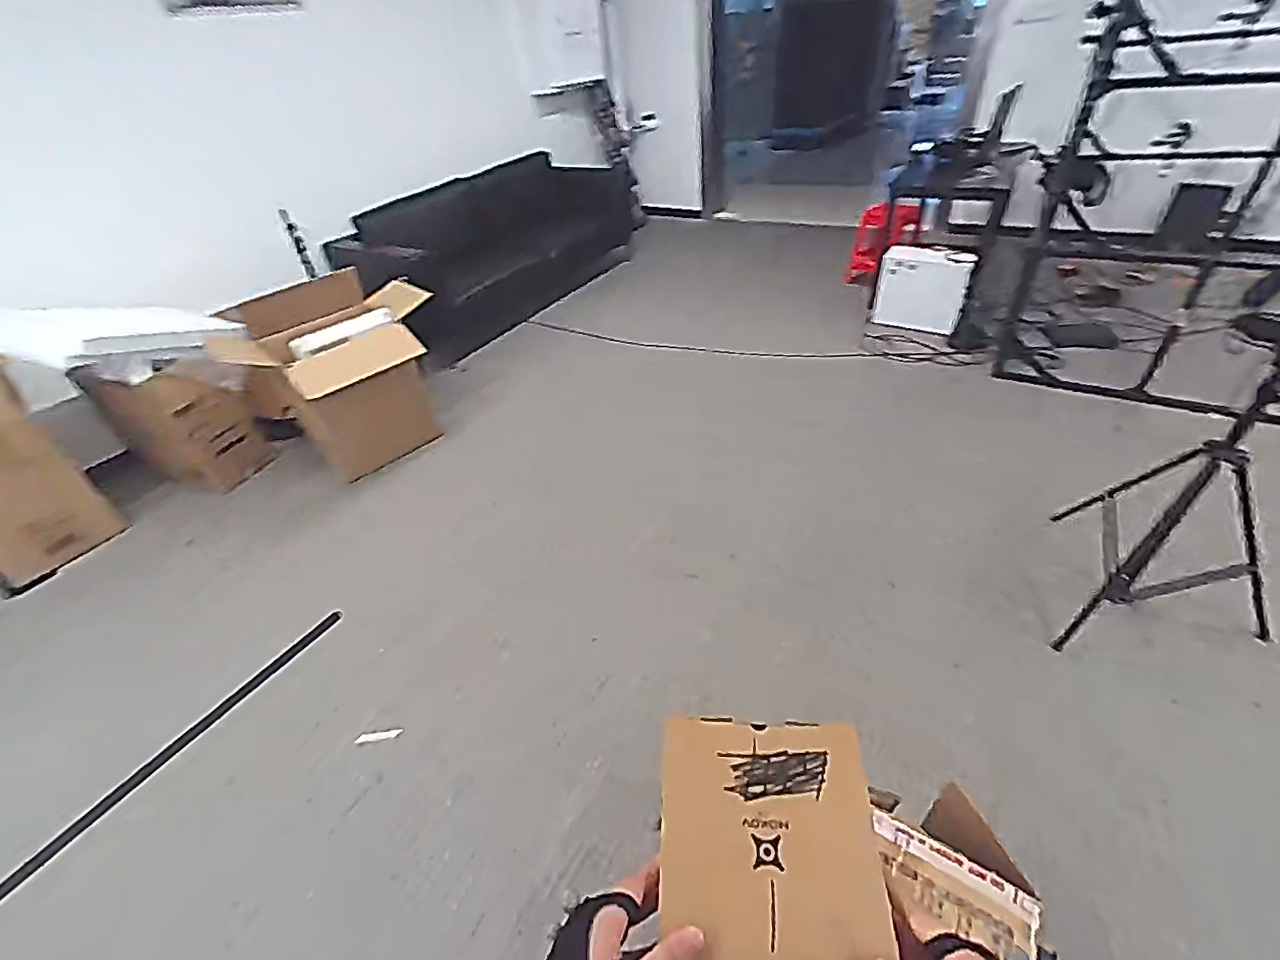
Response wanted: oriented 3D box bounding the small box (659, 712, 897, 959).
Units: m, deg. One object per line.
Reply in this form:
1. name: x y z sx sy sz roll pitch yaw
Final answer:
1. small box: 0.103 0.327 0.480 0.168 0.176 0.179 0 49 5
